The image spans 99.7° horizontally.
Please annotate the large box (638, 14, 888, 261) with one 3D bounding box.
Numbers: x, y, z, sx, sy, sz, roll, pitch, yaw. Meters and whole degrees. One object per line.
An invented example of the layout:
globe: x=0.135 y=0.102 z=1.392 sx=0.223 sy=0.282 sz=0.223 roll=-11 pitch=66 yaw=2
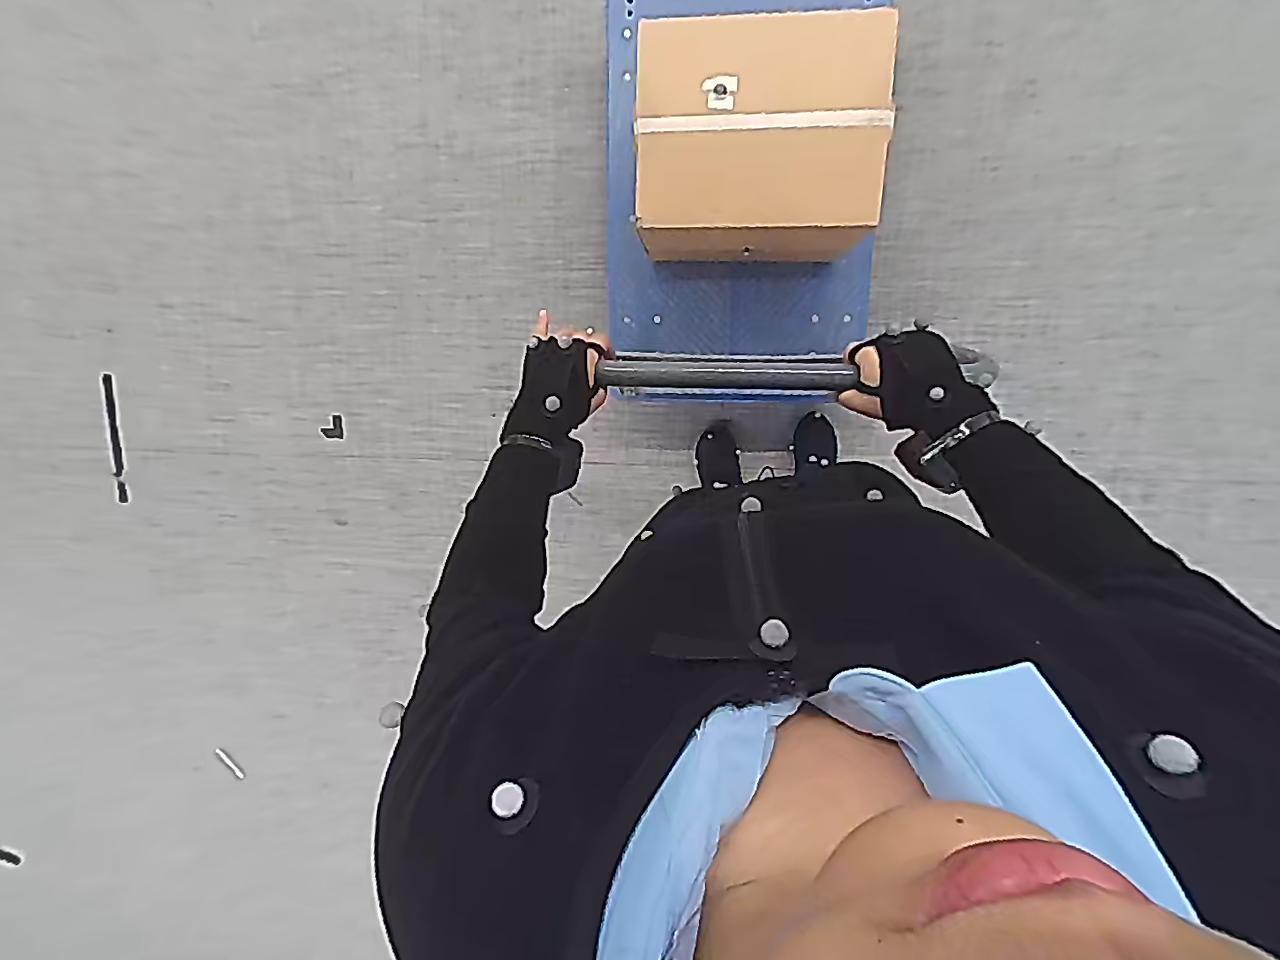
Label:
large box: x=0.214 y=-0.615 z=1.043 sx=0.408 sy=0.320 sz=0.320 roll=2 pitch=101 yaw=7
